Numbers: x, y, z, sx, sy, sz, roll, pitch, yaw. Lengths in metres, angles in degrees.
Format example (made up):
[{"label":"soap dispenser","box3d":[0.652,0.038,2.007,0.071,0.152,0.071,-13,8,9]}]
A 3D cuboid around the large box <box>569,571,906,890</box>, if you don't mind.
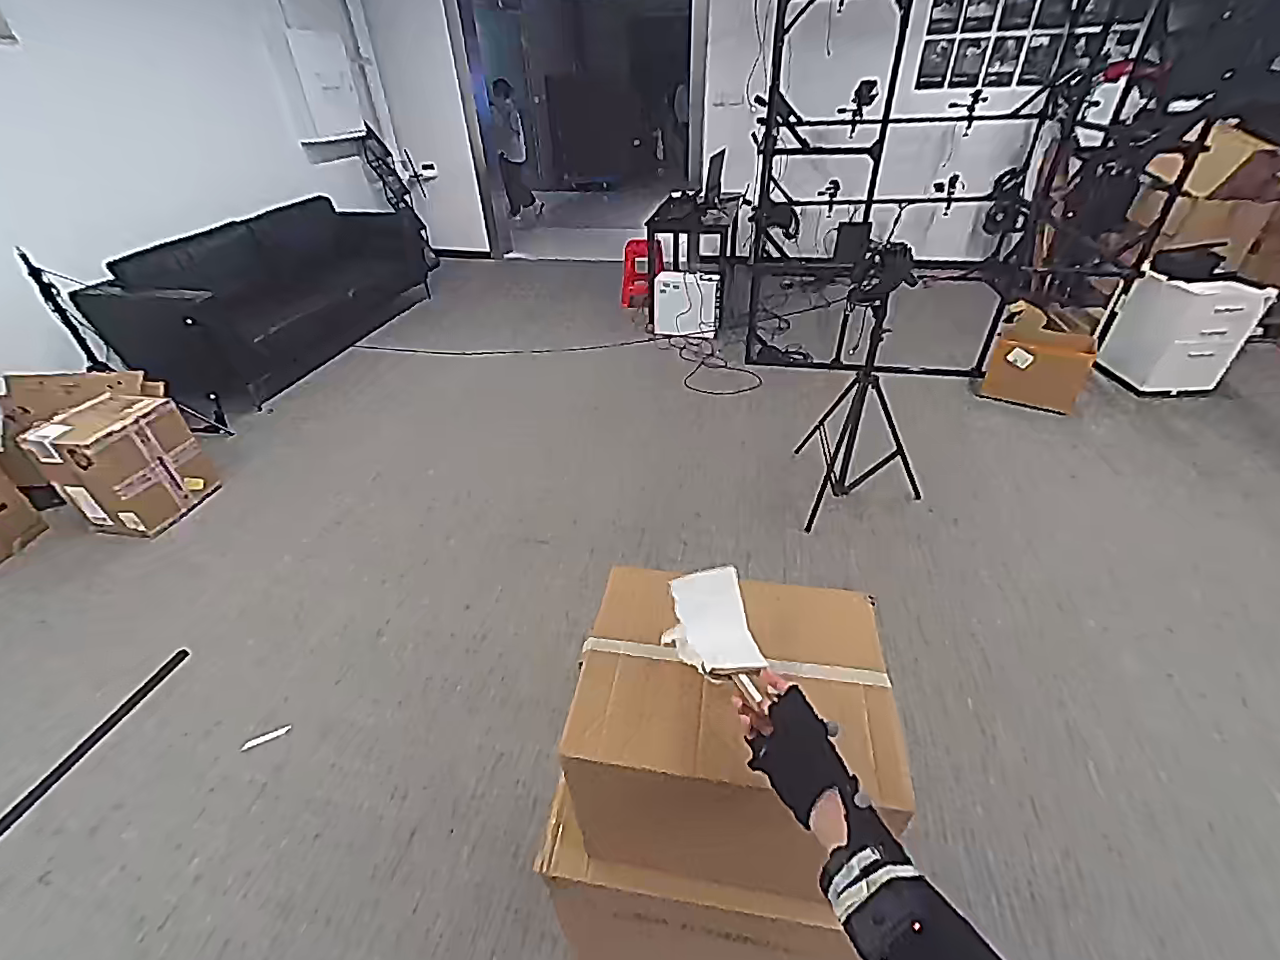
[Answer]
[{"label":"large box","box3d":[0.130,0.373,0.840,0.408,0.320,0.320,5,38,8]}]
